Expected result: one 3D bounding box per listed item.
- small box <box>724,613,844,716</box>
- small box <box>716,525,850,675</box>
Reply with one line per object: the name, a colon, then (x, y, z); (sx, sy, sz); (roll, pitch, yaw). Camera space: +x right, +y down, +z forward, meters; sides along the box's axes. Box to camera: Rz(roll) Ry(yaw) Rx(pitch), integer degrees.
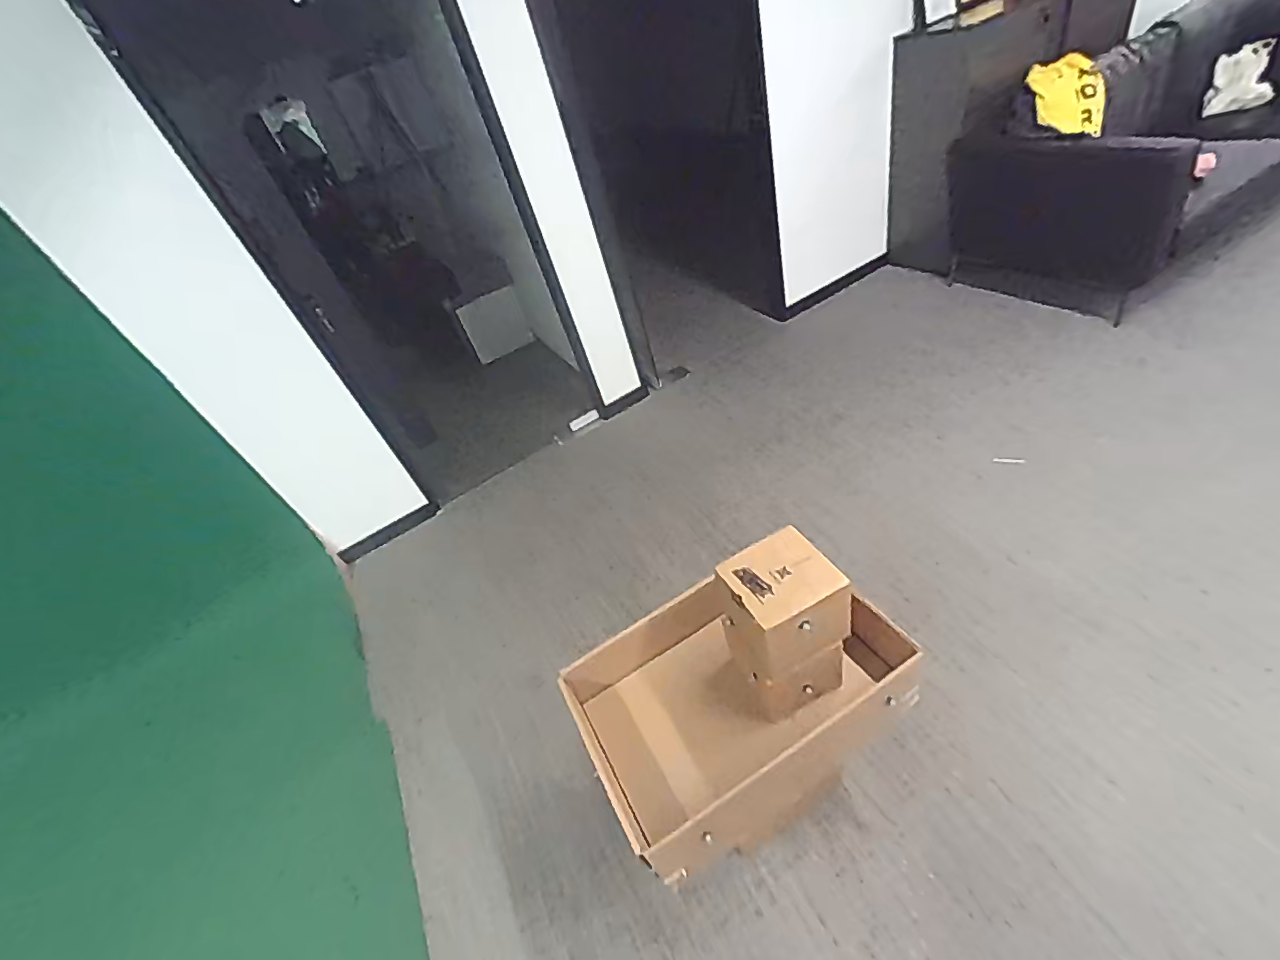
small box: (0.295, 0.348, 1.096); (0.168, 0.176, 0.179); (-26, 39, -8)
small box: (0.266, 0.222, 0.994); (0.179, 0.176, 0.168); (-26, 40, -10)
